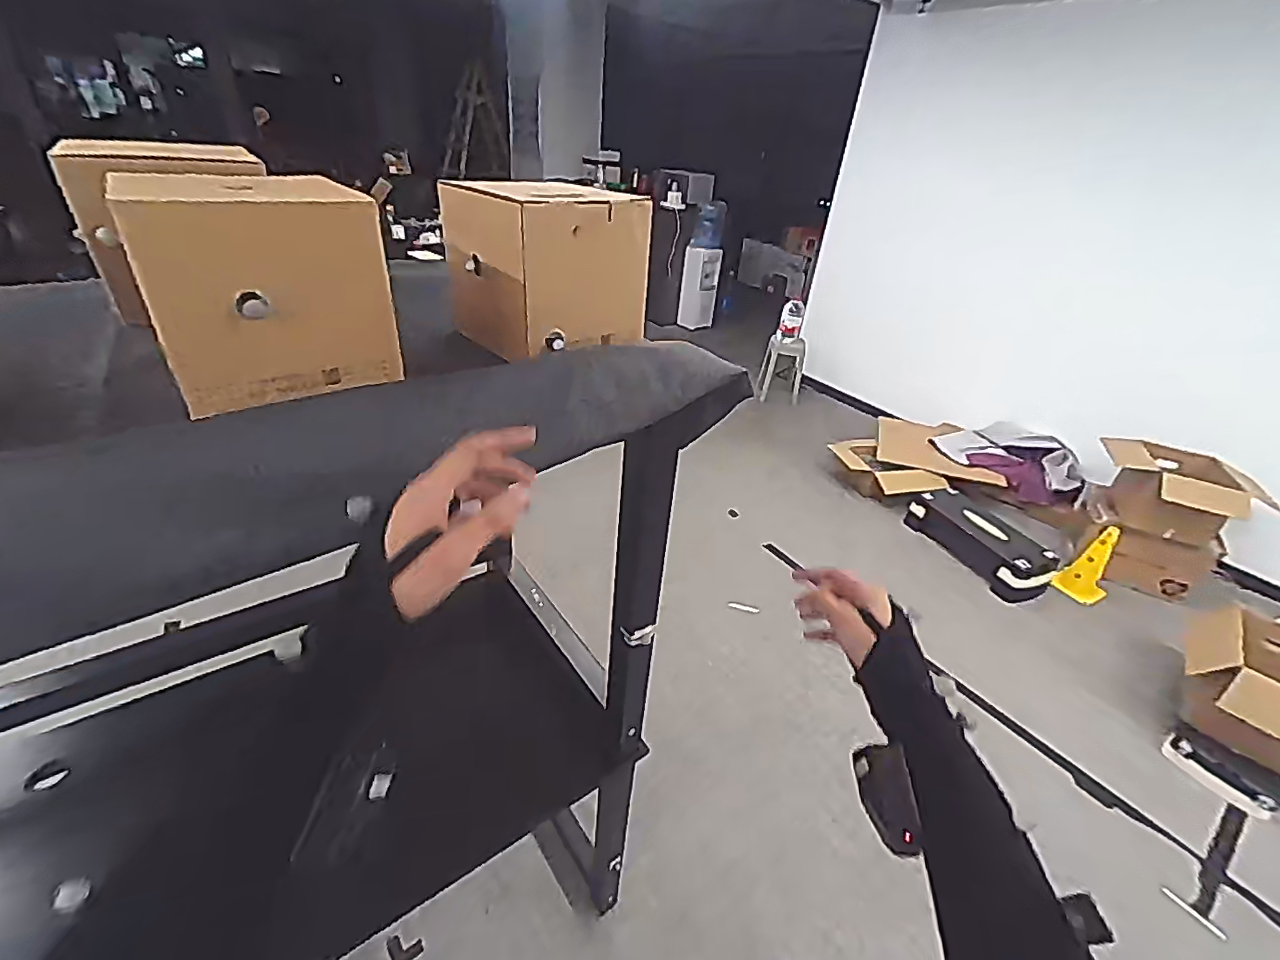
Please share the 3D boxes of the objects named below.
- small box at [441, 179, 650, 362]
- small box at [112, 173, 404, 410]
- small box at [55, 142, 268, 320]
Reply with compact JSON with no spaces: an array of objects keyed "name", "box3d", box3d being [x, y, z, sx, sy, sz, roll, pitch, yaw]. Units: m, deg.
[{"name":"small box","box3d":[-0.107,-0.246,0.630,0.168,0.176,0.179,-23,41,-36]},{"name":"small box","box3d":[-0.333,-0.174,0.490,0.168,0.176,0.179,-20,40,-34]},{"name":"small box","box3d":[-0.536,-0.300,0.652,0.179,0.176,0.168,-18,40,-32]}]
